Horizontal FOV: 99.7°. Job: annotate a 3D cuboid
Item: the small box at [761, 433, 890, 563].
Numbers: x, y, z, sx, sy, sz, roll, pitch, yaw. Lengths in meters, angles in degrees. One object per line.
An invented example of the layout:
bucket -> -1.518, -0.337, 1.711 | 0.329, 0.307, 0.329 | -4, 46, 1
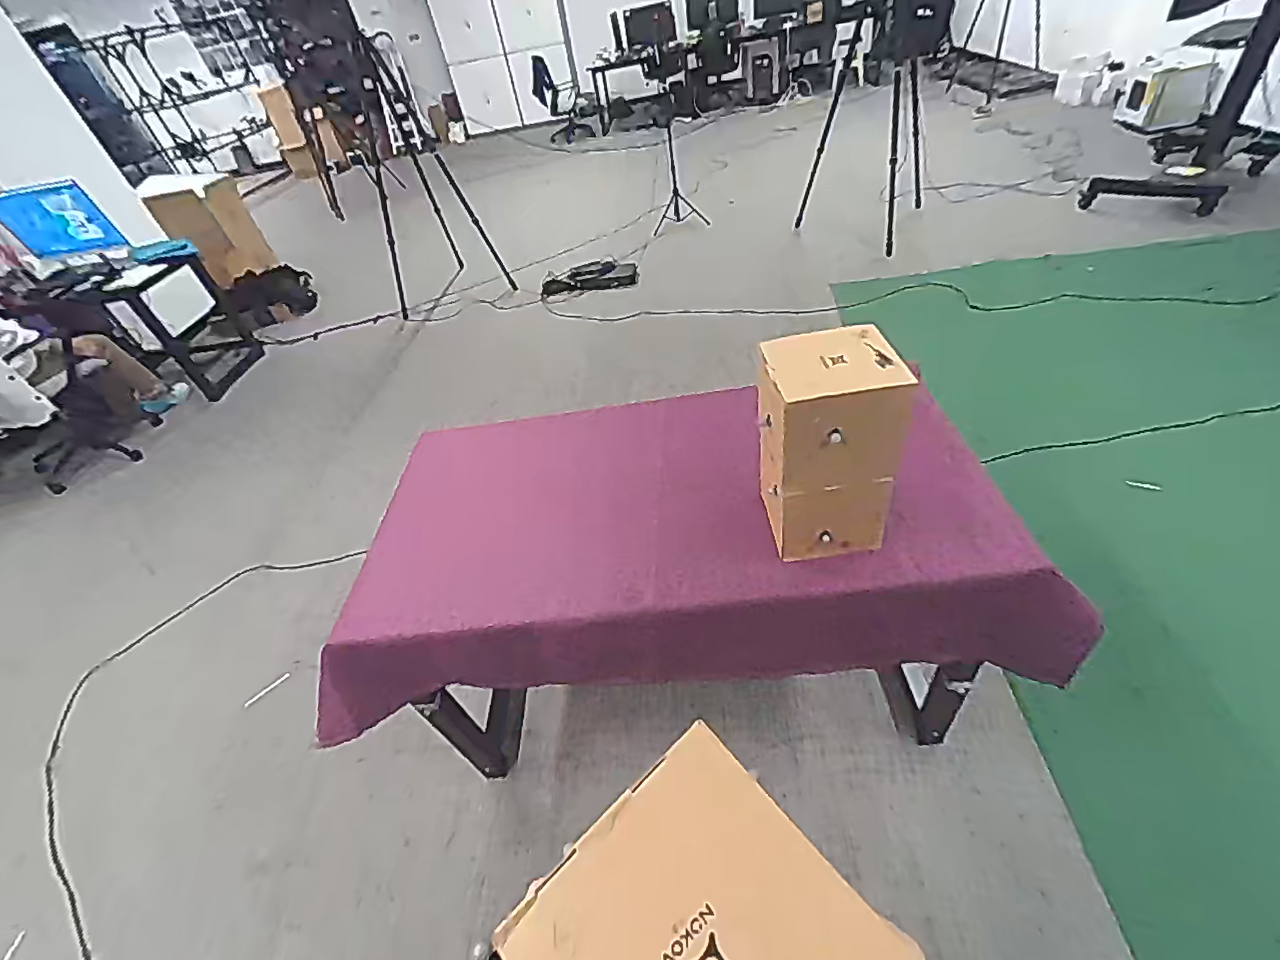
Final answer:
small box -> 0.305, 0.017, 0.932 | 0.168, 0.176, 0.179 | -9, 43, 4

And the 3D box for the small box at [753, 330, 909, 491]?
small box -> 0.278, -0.101, 0.821 | 0.179, 0.176, 0.168 | -10, 43, 5
